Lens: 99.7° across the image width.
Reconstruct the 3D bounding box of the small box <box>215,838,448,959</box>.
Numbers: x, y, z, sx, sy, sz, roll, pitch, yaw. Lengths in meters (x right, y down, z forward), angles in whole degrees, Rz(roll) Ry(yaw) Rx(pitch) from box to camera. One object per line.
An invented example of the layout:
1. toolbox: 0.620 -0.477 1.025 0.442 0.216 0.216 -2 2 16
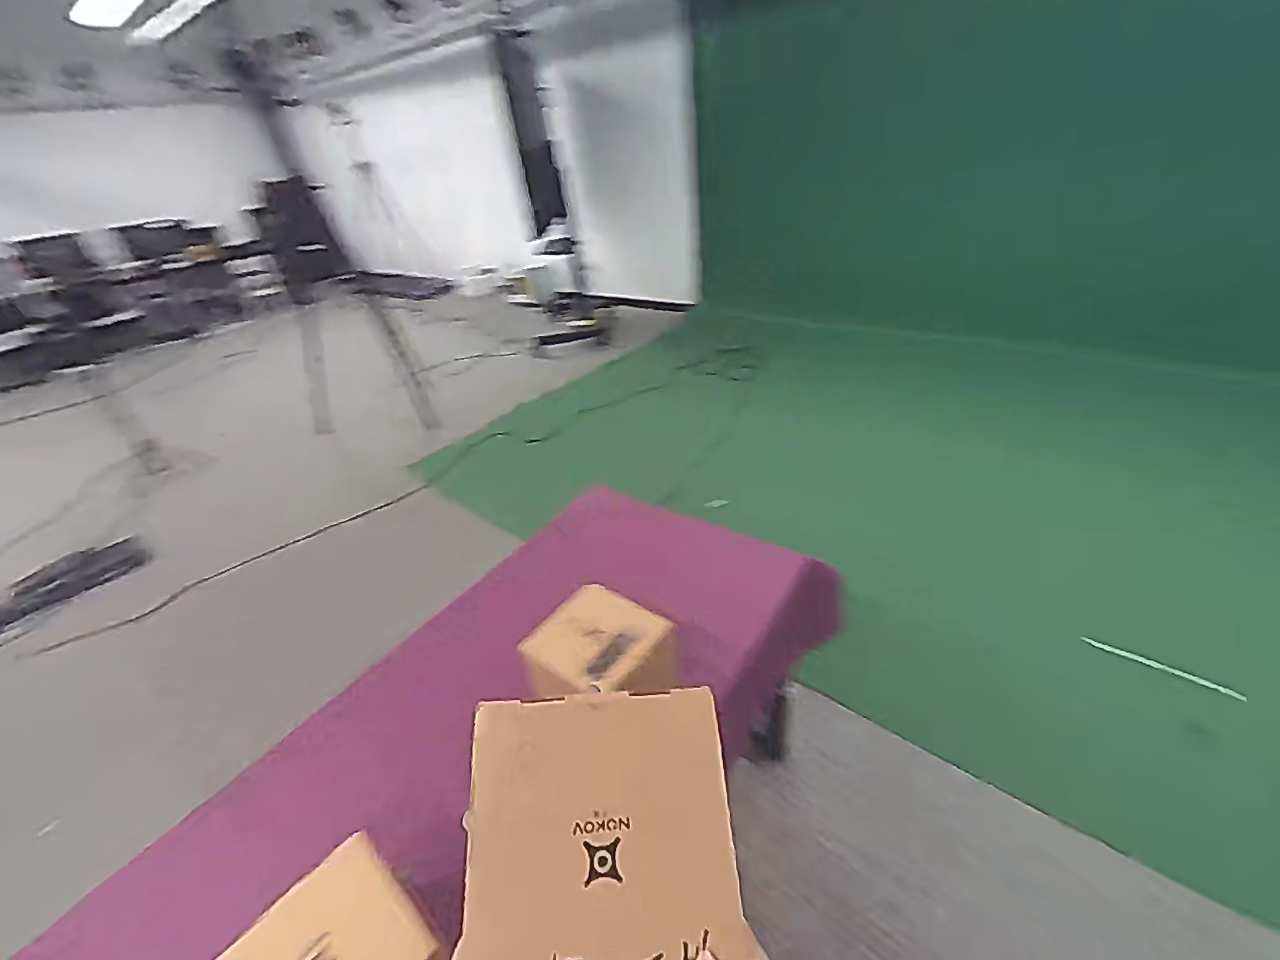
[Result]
1. small box: -0.314 0.546 0.576 0.179 0.176 0.168 21 43 36
